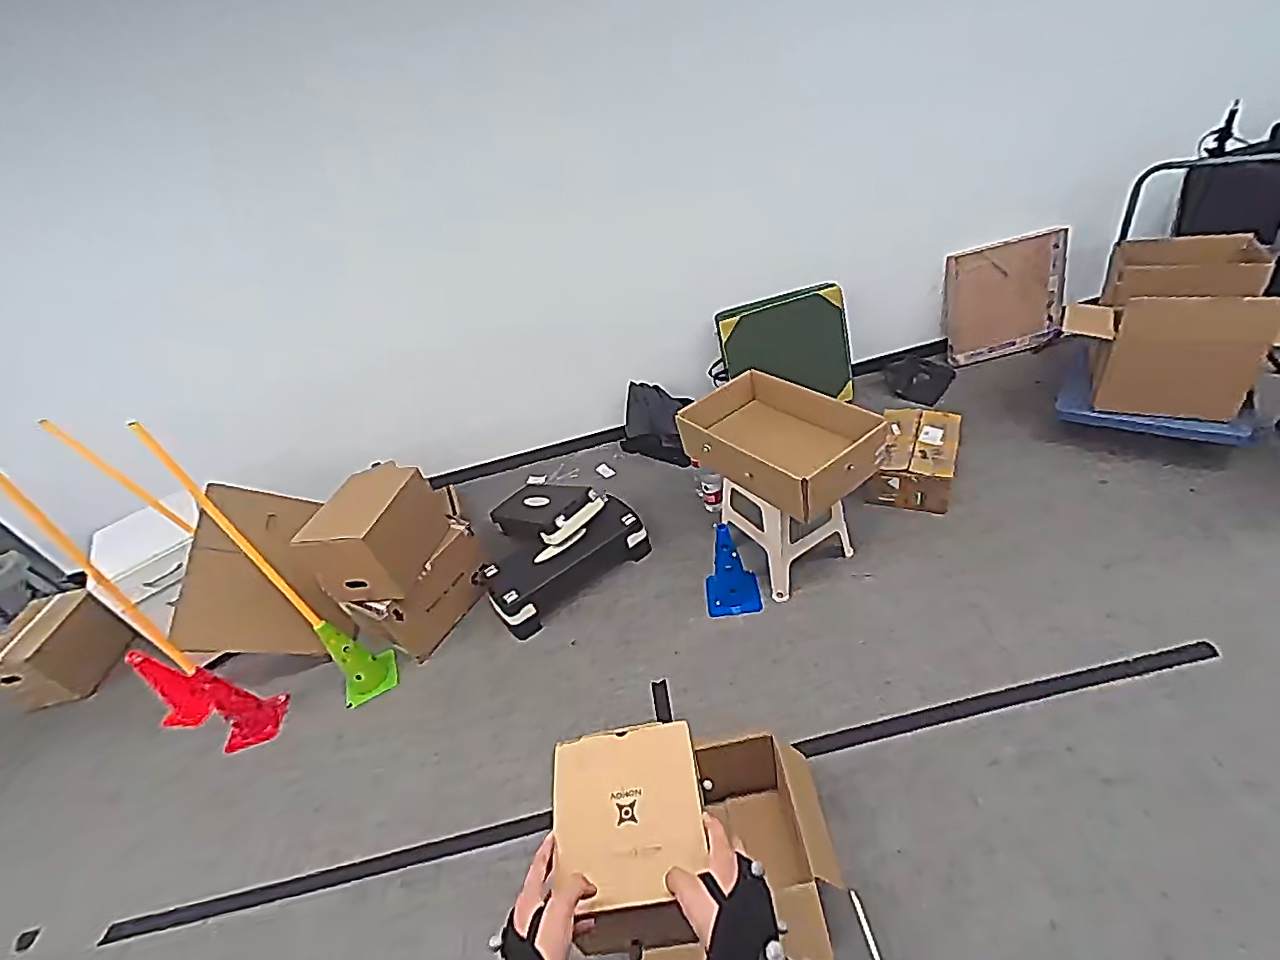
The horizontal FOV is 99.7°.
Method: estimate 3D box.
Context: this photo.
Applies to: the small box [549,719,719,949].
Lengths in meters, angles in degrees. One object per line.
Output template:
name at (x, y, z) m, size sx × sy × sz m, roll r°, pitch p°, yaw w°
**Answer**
small box at (-0.004, 0.419, 0.646) m, size 0.168 × 0.176 × 0.179 m, roll -9°, pitch 37°, yaw 2°
